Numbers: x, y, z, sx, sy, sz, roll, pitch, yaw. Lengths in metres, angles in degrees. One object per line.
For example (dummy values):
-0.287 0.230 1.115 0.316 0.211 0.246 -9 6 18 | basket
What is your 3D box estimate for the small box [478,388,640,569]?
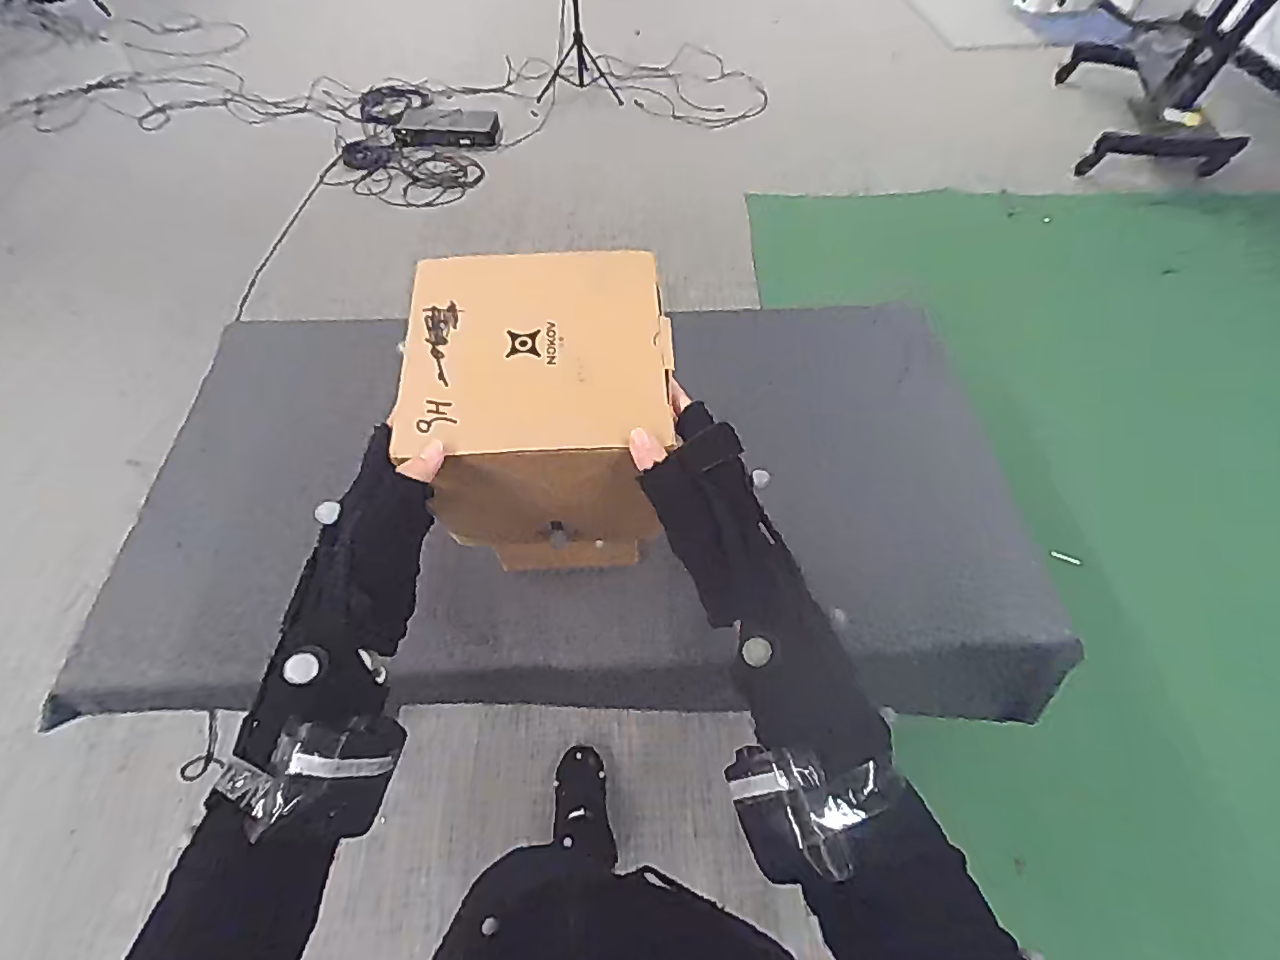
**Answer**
-0.091 0.003 0.689 0.179 0.176 0.168 -4 57 -1 | small box
